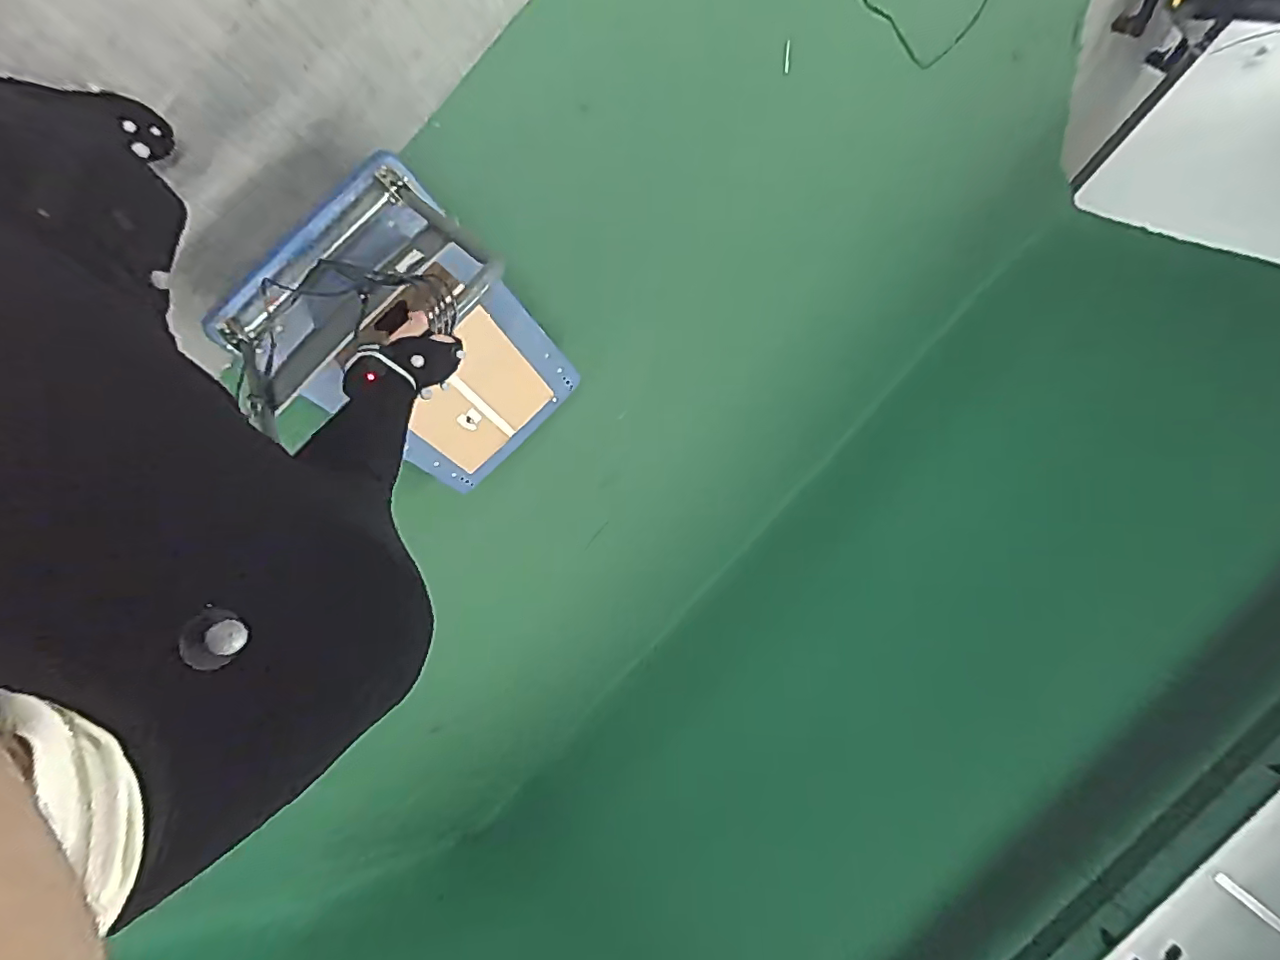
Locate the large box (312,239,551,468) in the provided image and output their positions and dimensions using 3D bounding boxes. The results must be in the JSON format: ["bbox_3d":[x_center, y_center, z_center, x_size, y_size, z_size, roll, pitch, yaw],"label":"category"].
[{"bbox_3d":[-0.505,-0.305,1.351,0.320,0.320,0.408,-43,146,-3],"label":"large box"}]
